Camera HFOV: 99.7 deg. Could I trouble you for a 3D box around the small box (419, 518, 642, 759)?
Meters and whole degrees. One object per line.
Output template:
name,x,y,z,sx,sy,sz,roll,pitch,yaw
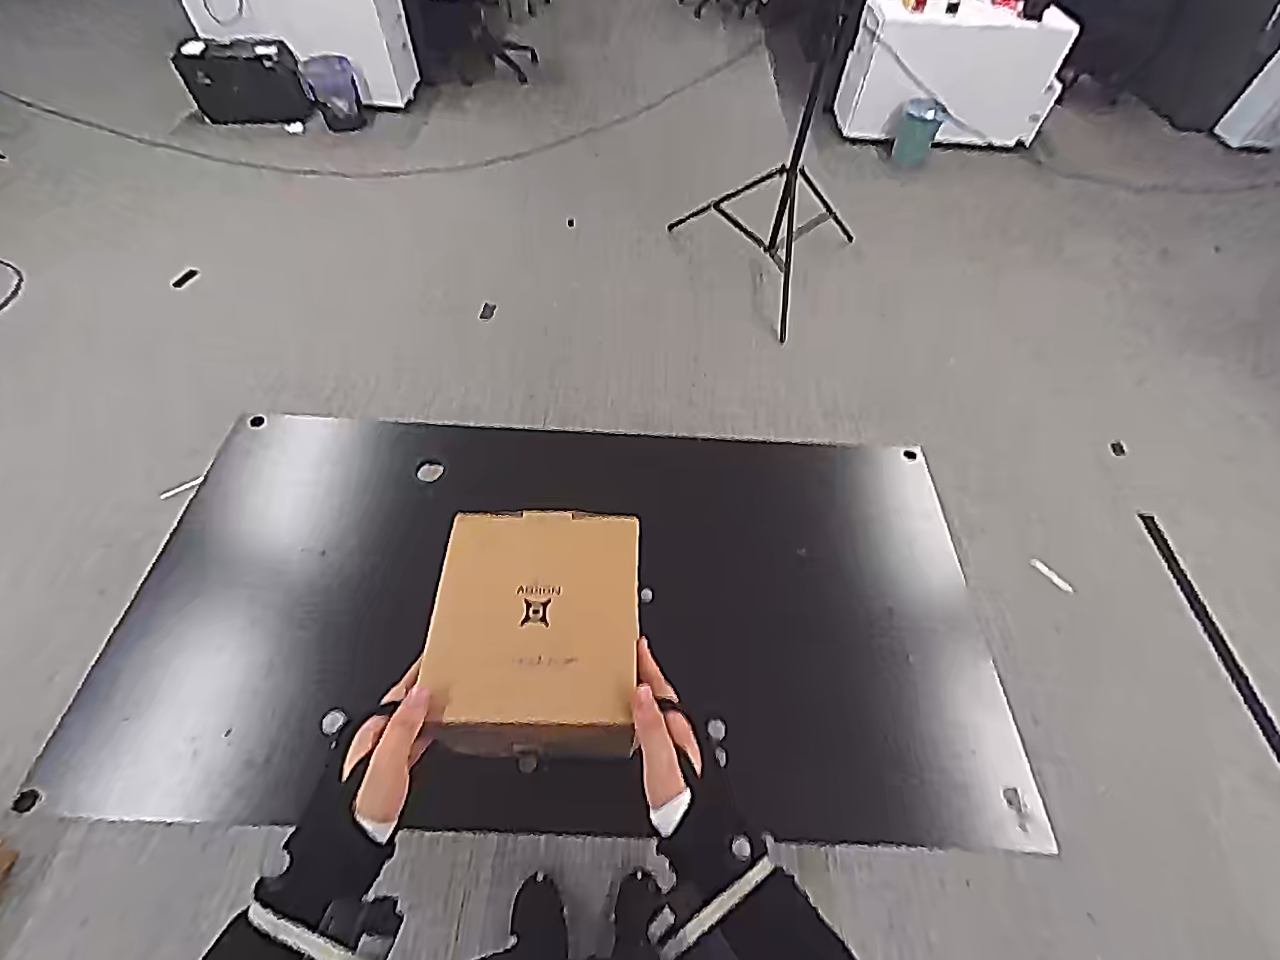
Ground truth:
small box,-0.084,0.153,0.508,0.168,0.176,0.179,0,56,-1

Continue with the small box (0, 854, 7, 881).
small box,-1.425,0.817,1.052,0.168,0.176,0.179,10,55,4
